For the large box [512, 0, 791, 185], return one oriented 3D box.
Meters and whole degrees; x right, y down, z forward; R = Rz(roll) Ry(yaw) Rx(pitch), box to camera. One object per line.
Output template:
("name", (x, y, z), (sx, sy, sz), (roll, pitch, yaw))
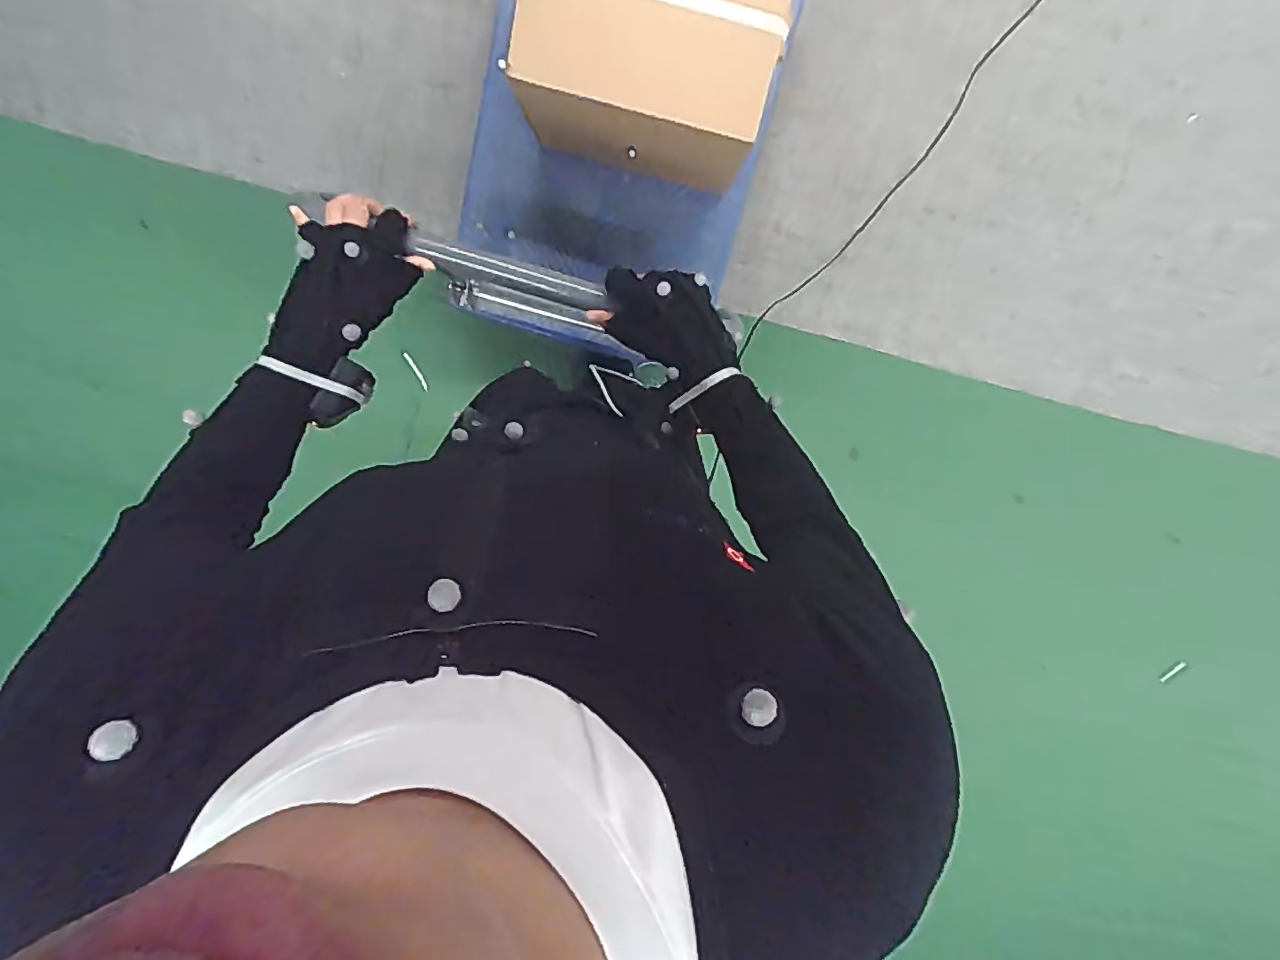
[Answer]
("large box", (0.028, -0.767, 0.958), (0.408, 0.320, 0.320), (13, 103, -3))
